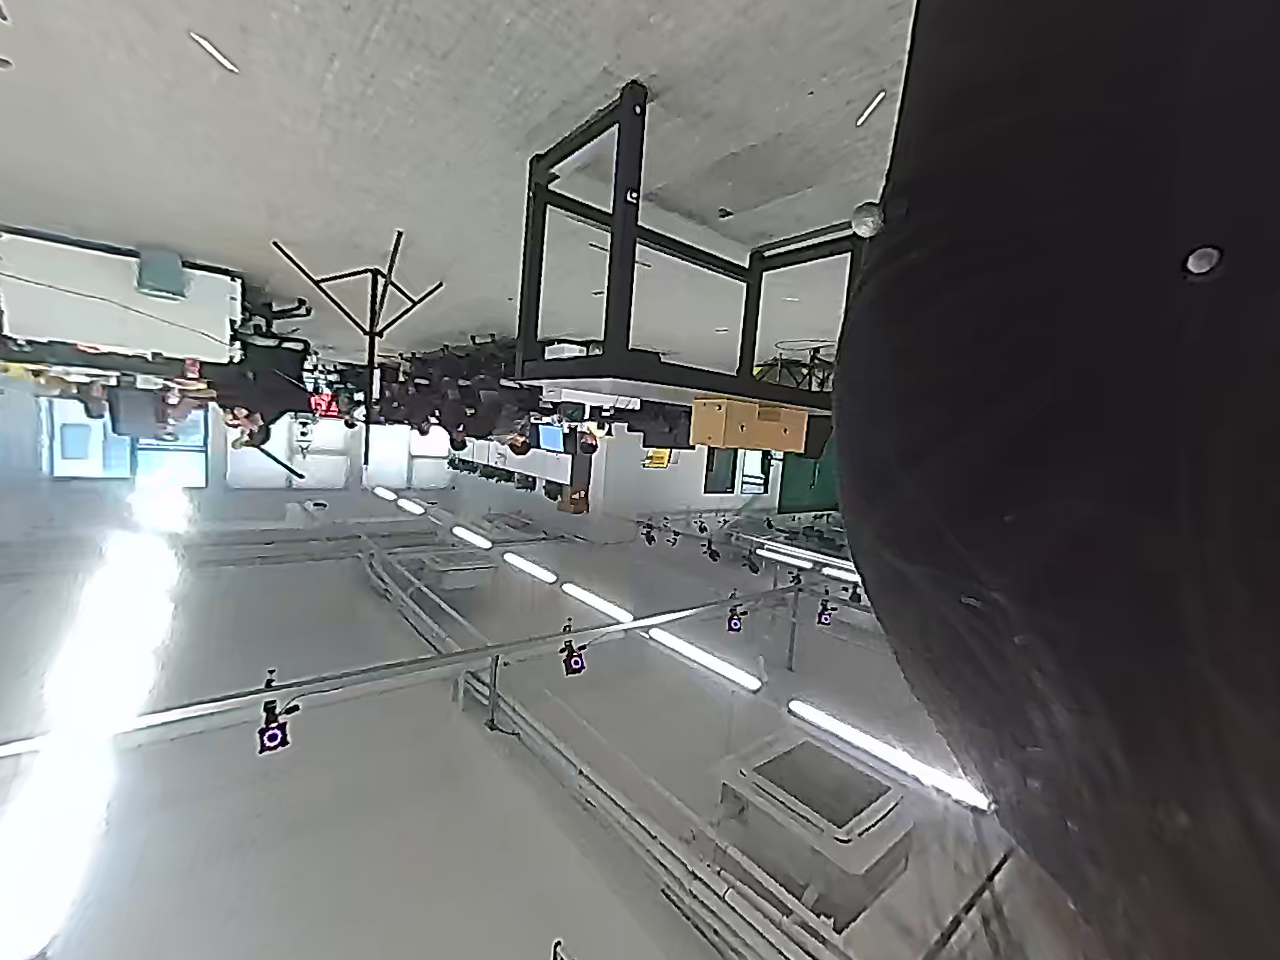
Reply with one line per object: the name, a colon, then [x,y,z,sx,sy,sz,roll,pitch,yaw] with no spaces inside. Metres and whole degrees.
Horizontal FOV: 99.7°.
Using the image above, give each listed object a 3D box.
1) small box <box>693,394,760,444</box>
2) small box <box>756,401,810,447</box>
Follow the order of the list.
small box: [0.314,-0.222,1.961,0.179,0.176,0.168,-1,-172,-40]
small box: [0.550,-0.222,2.138,0.179,0.176,0.168,0,-172,-36]
